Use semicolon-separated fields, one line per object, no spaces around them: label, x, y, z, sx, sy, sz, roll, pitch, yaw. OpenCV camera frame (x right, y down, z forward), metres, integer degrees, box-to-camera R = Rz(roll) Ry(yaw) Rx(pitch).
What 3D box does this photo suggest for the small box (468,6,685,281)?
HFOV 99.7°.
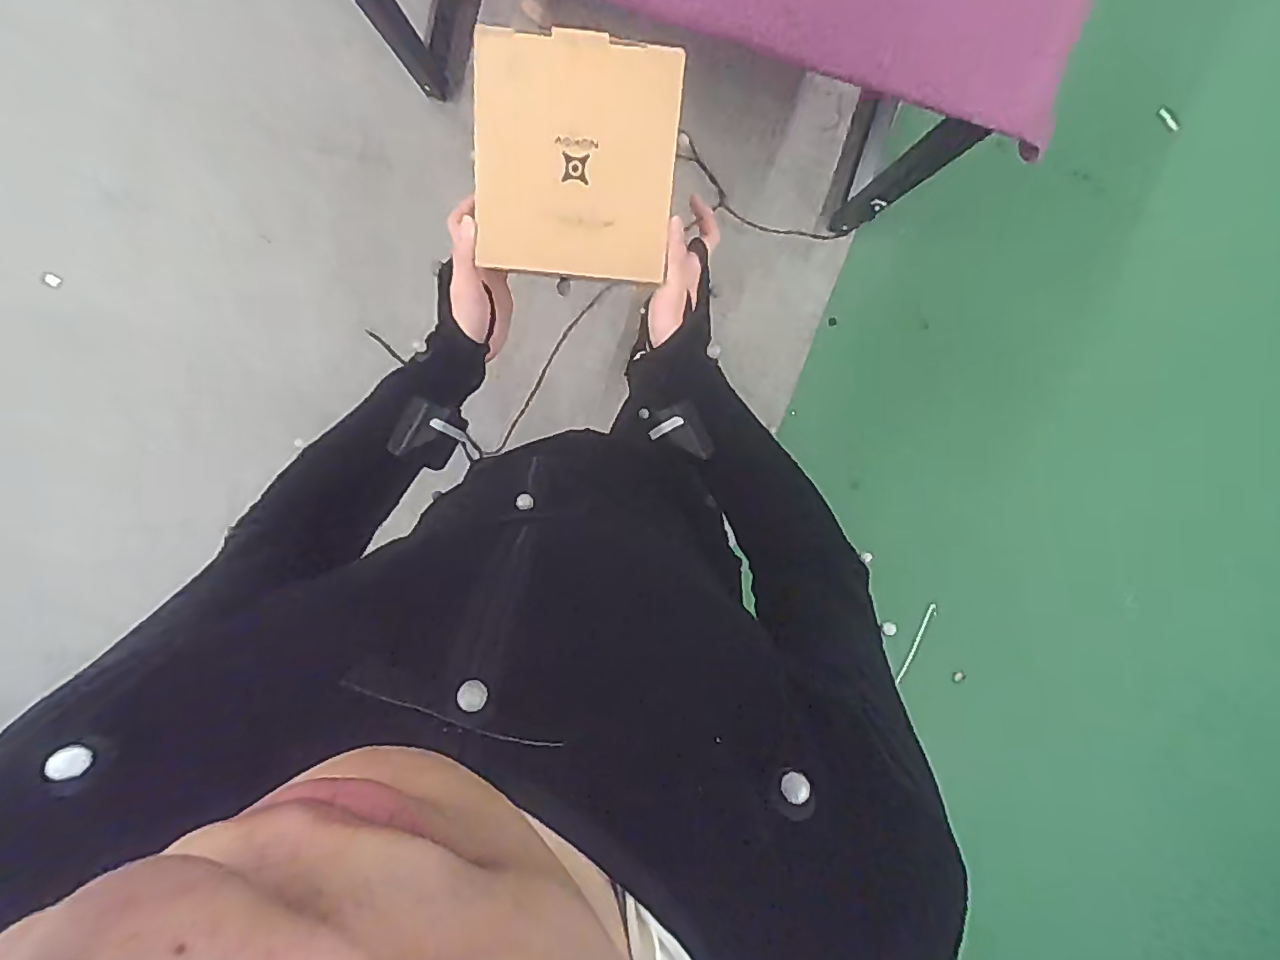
small box;-0.057;-0.289;0.507;0.168;0.176;0.179;5;109;-3
